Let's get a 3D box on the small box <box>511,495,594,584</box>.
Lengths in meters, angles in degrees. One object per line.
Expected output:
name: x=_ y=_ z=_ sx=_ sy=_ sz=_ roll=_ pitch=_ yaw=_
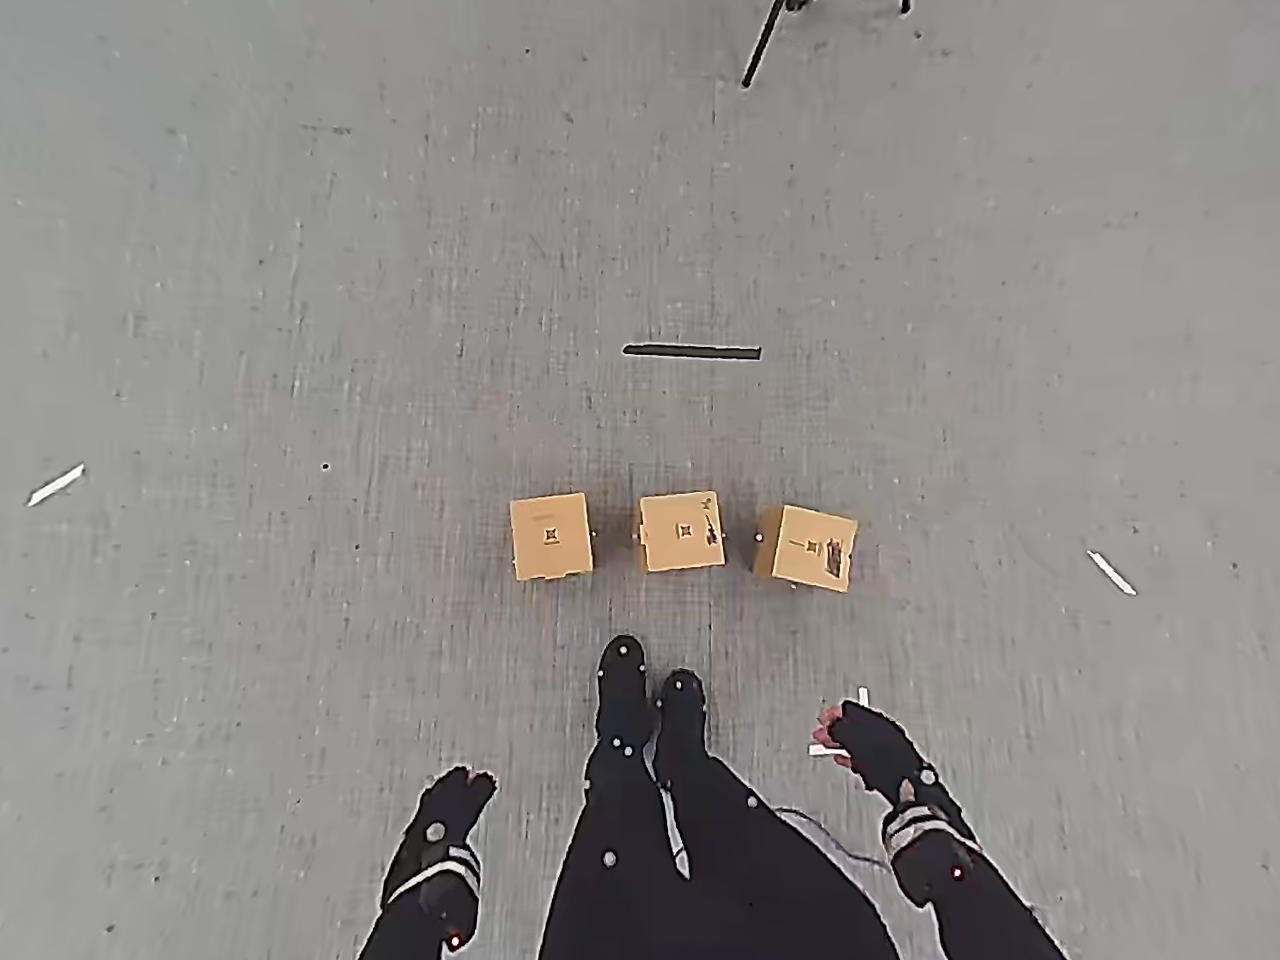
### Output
small box: x=-0.195 y=0.138 z=1.240 sx=0.168 sy=0.176 sz=0.179 roll=-6 pitch=81 yaw=-6

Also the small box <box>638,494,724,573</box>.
small box: x=0.088 y=0.130 z=1.263 sx=0.179 sy=0.176 sz=0.168 roll=-5 pitch=82 yaw=-5

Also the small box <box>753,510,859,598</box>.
small box: x=0.387 y=0.175 z=1.282 sx=0.179 sy=0.176 sz=0.168 roll=14 pitch=80 yaw=-2
